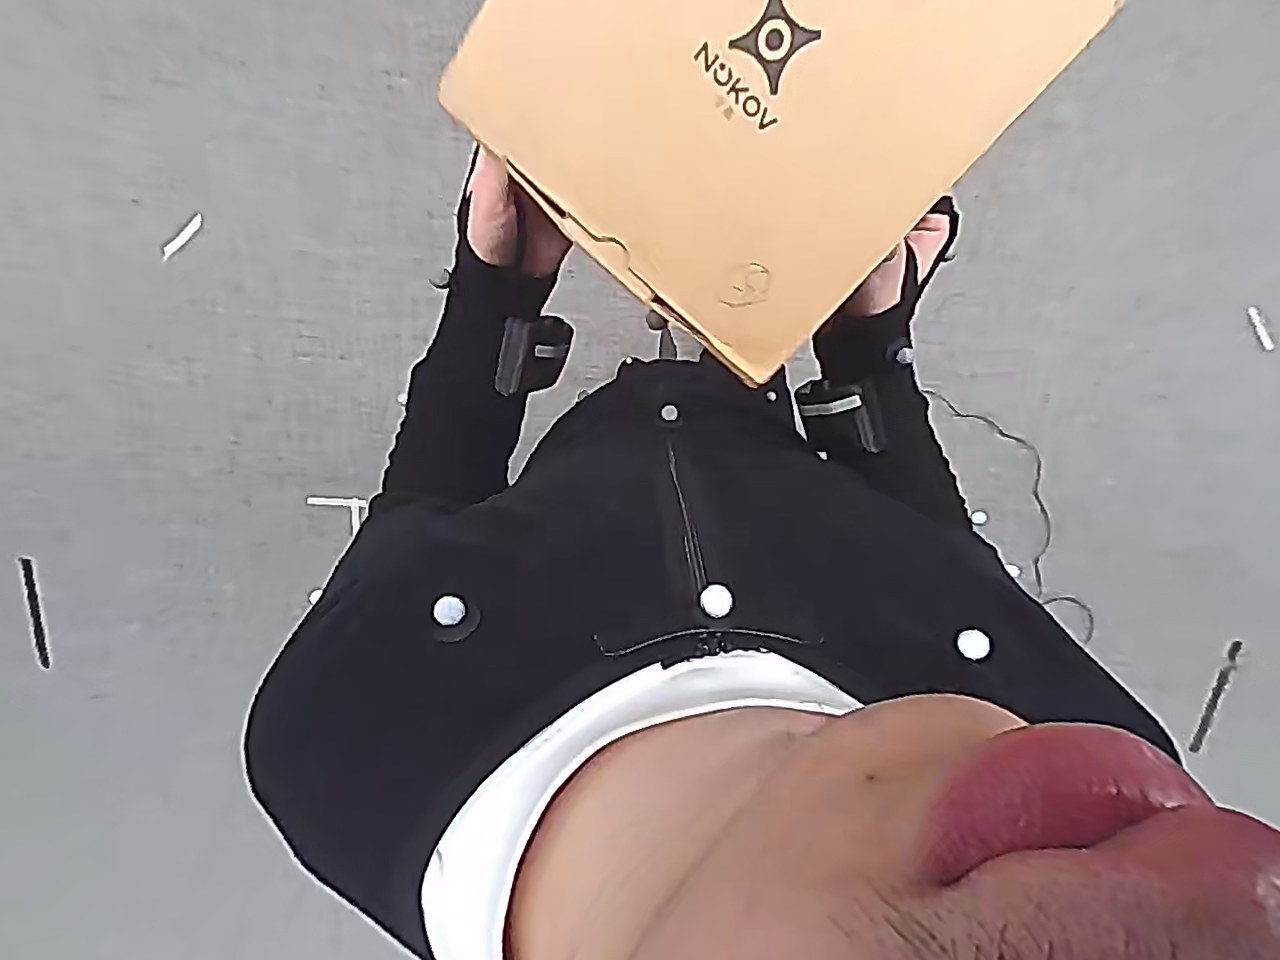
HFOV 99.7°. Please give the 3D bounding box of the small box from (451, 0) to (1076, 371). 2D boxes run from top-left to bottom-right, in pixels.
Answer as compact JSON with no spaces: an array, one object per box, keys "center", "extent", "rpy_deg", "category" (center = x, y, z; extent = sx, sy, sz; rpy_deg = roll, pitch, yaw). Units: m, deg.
[{"center":[0.042,-0.187,0.273],"extent":[0.168,0.176,0.179],"rpy_deg":[36,109,-14],"category":"small box"}]
